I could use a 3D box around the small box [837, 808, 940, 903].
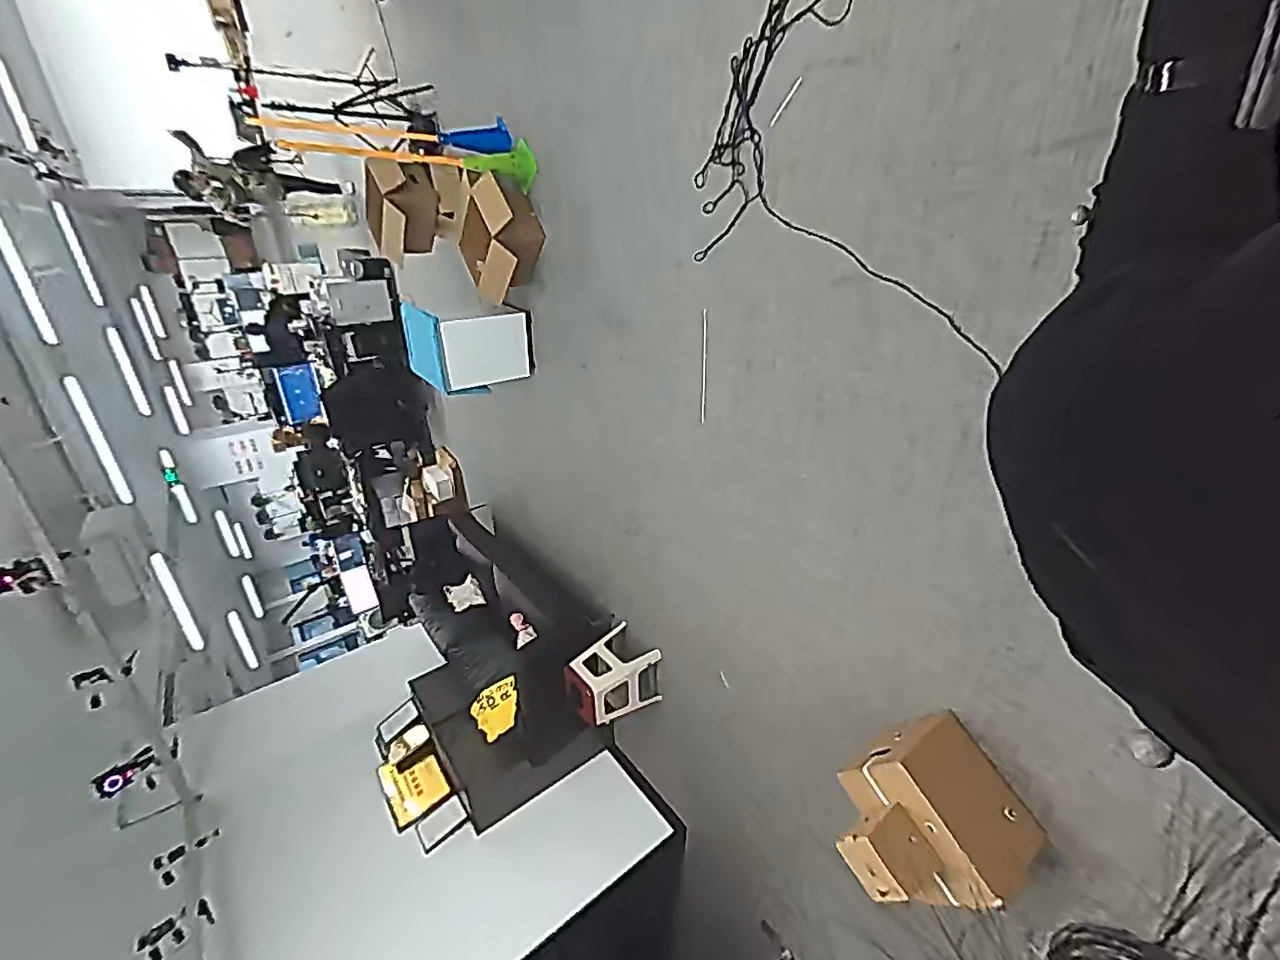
[{"bbox_3d":[0.727,1.092,1.584,0.179,0.176,0.168,55,145,24],"label":"small box"}]
